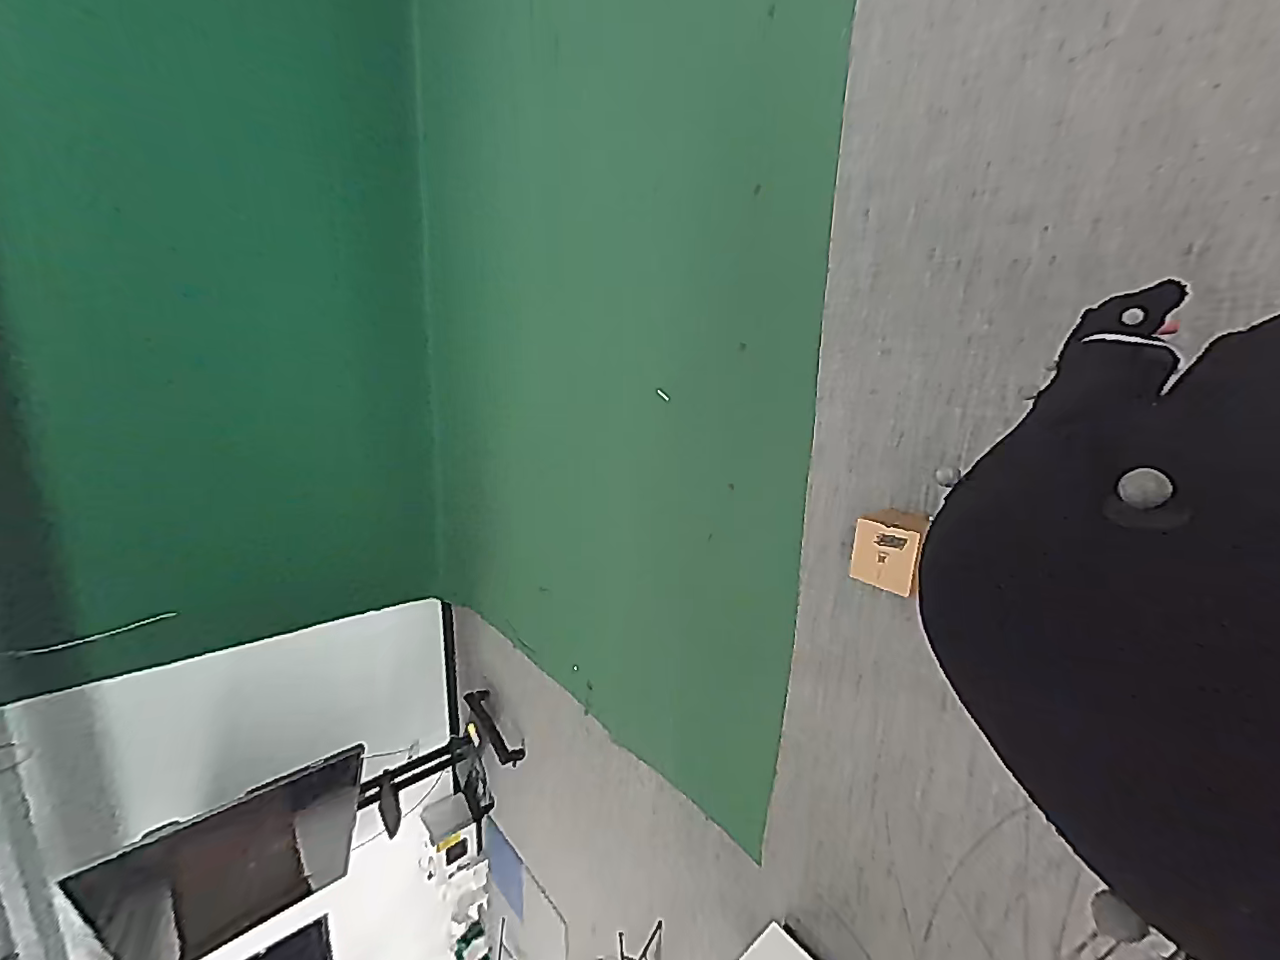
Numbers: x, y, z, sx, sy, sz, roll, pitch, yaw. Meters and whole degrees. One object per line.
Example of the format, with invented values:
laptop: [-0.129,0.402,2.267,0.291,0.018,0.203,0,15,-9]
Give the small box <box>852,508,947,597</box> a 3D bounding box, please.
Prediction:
small box: [0.699,0.185,1.450,0.168,0.176,0.179,18,111,47]
